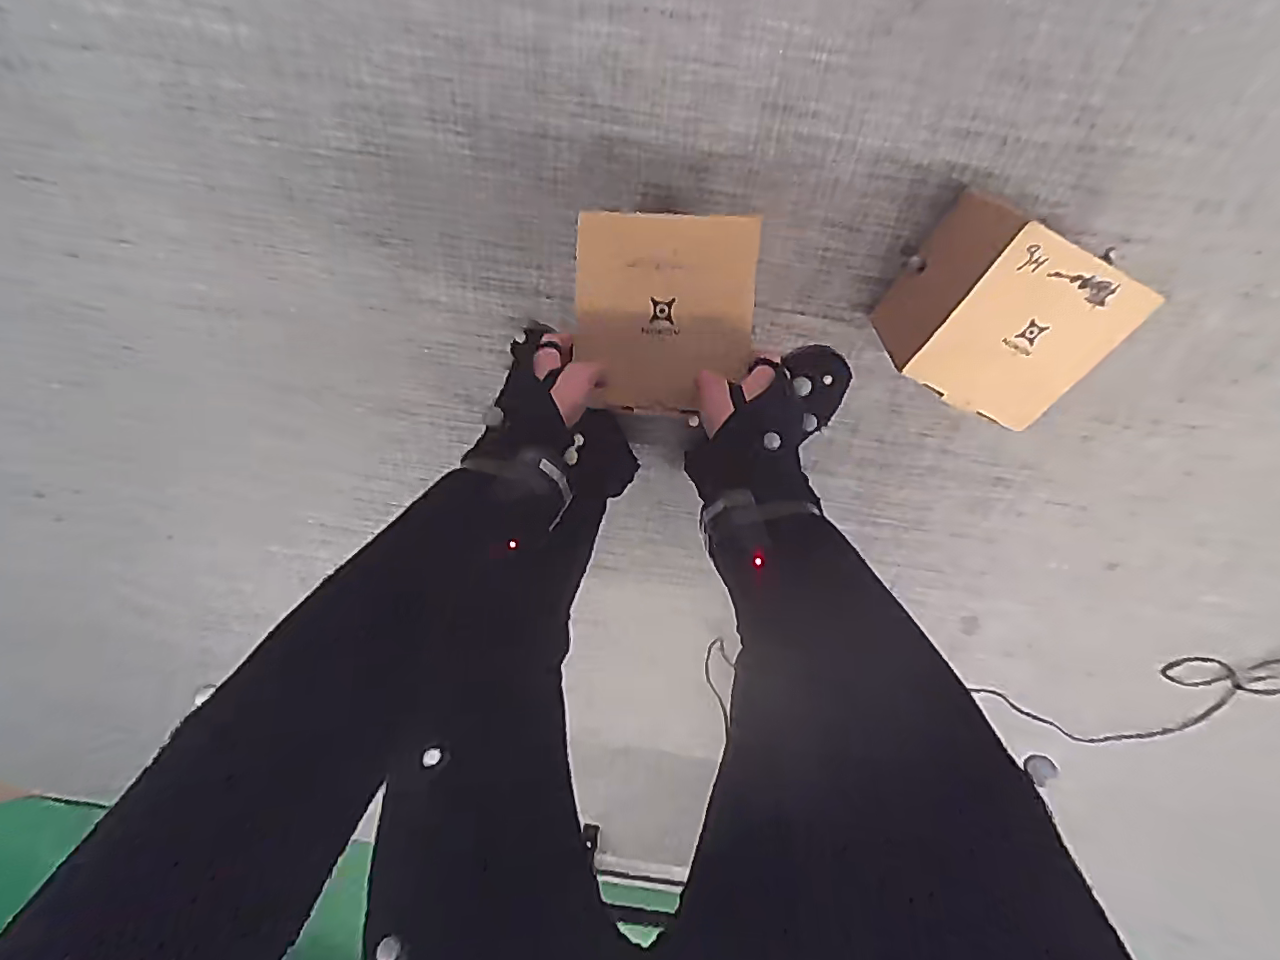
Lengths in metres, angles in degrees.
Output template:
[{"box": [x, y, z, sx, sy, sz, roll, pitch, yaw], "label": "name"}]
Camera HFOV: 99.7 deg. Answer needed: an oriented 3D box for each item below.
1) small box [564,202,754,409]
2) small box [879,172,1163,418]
[{"box": [0.021, -0.165, 0.556, 0.168, 0.176, 0.179, 2, 98, 5], "label": "small box"}, {"box": [0.394, -0.208, 0.604, 0.168, 0.176, 0.179, 23, 129, -10], "label": "small box"}]
